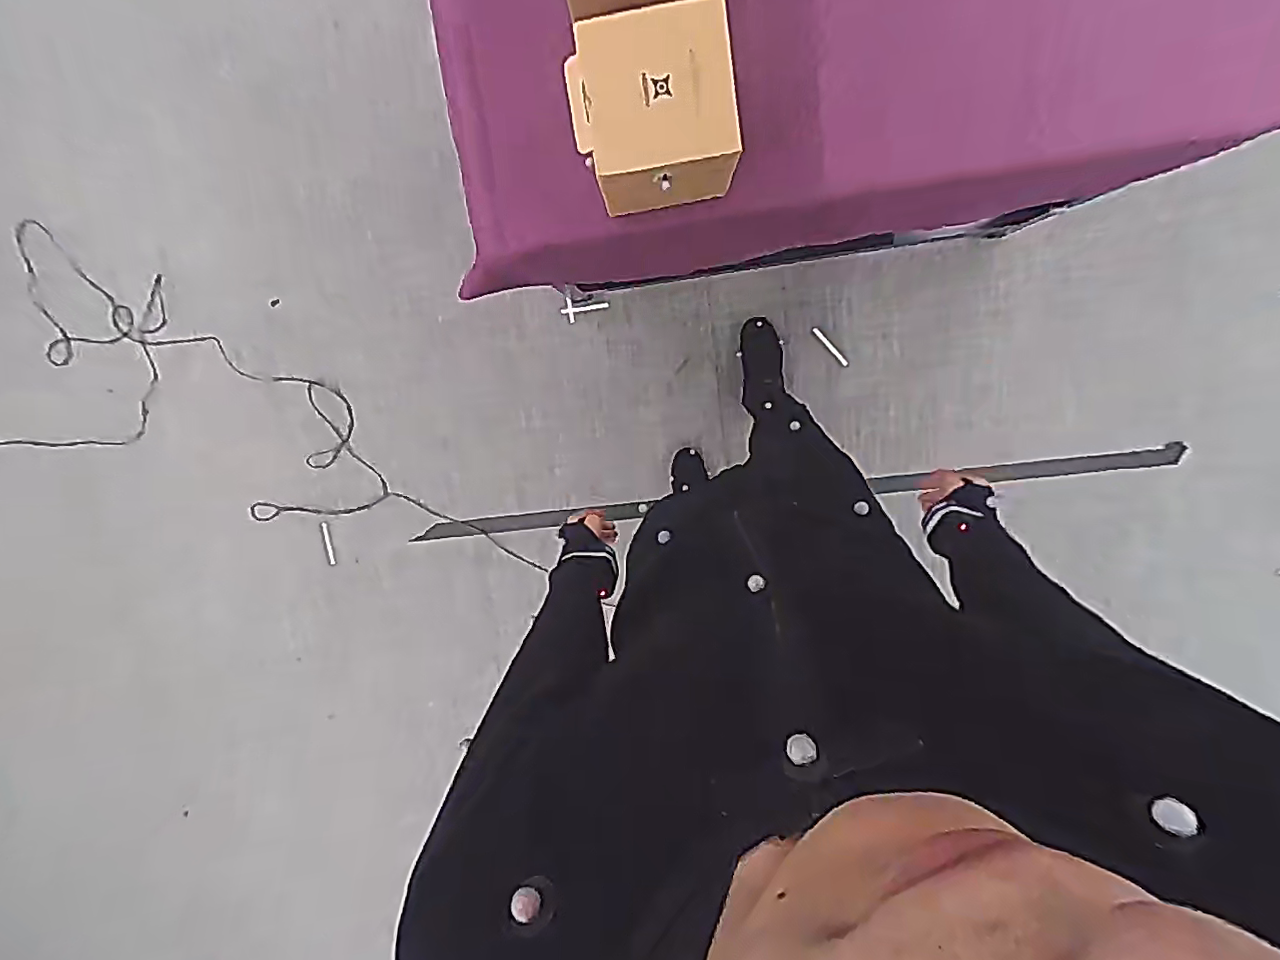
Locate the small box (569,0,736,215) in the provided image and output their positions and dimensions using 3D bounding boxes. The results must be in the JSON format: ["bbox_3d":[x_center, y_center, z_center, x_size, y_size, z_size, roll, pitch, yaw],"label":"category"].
[{"bbox_3d":[0.020,-0.462,0.698,0.179,0.176,0.168,-8,101,3],"label":"small box"}]
